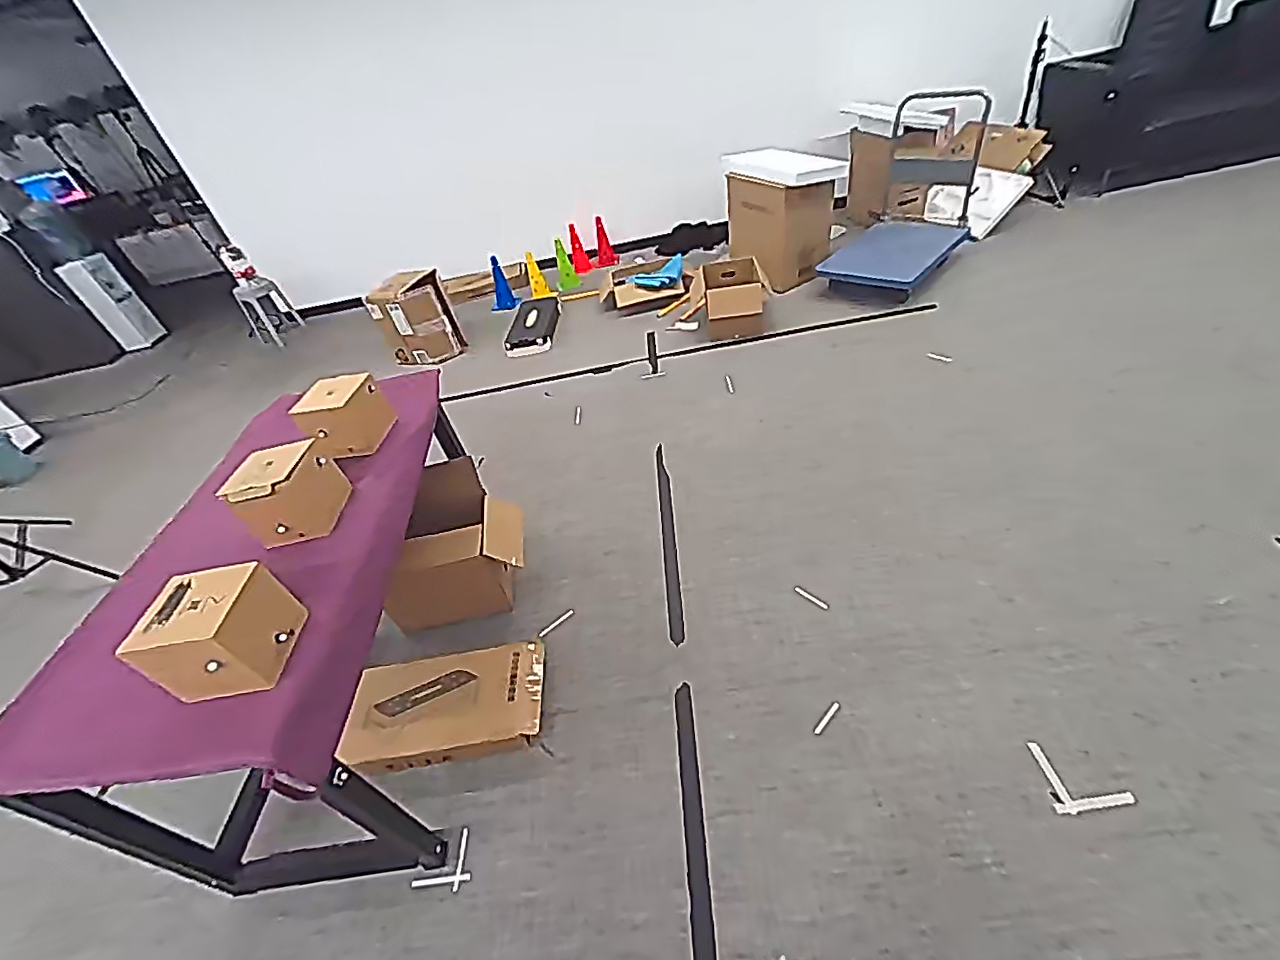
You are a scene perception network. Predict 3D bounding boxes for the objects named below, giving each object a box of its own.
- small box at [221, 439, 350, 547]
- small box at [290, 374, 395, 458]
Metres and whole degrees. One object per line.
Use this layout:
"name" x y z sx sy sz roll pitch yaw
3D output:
"small box" -0.828 0.032 1.289 0.168 0.176 0.179 -13 40 5
"small box" -0.829 -0.175 1.531 0.168 0.176 0.179 -6 40 9
